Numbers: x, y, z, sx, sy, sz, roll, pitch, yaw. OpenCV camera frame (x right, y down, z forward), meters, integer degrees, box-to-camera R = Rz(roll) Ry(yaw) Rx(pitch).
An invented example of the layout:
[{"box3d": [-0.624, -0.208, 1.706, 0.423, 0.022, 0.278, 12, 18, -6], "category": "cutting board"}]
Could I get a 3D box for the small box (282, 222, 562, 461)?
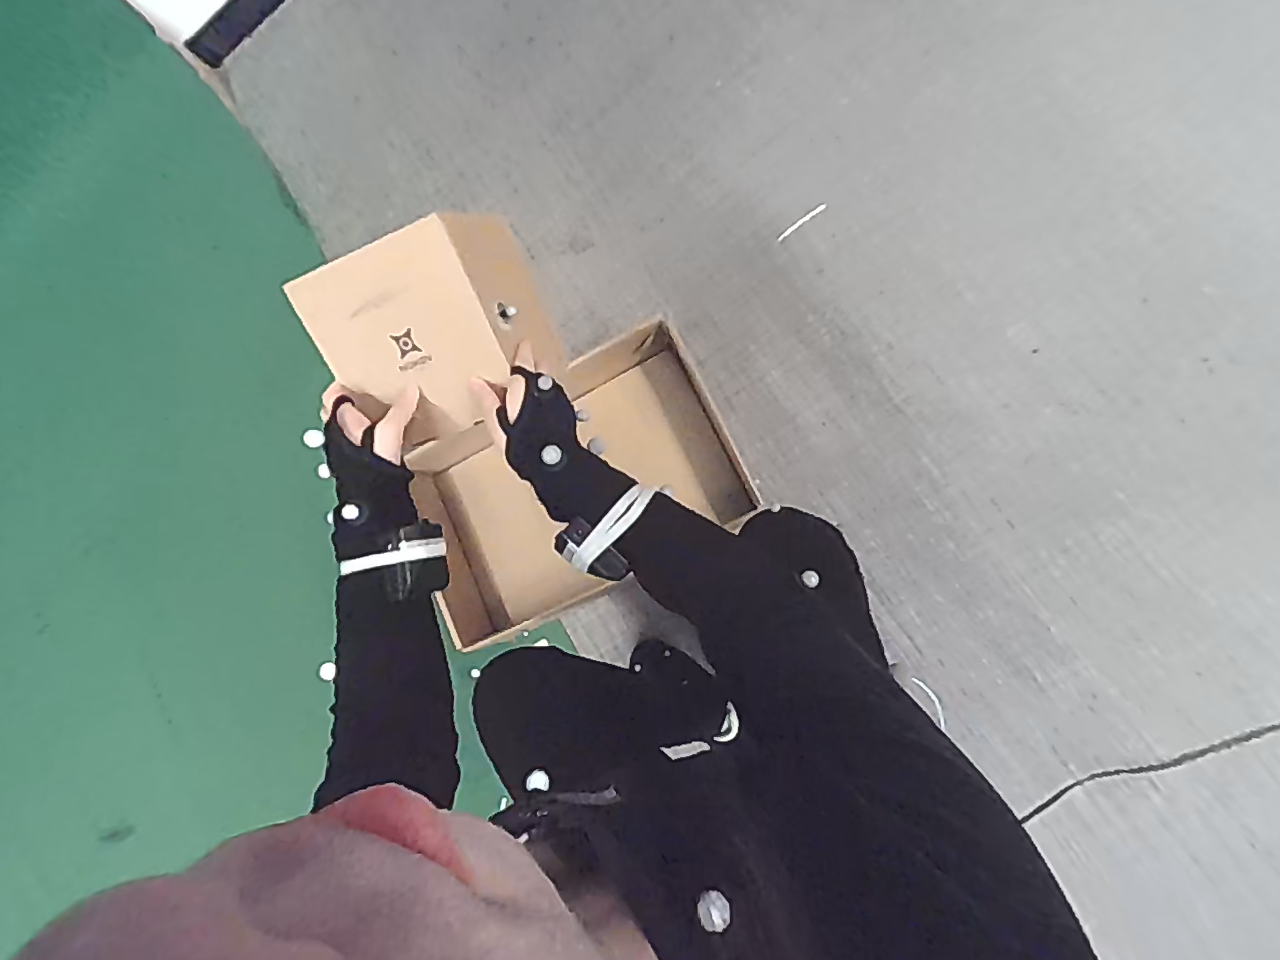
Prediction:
[{"box3d": [-0.197, -0.146, 0.550, 0.168, 0.176, 0.179, -16, 112, 13], "category": "small box"}]
